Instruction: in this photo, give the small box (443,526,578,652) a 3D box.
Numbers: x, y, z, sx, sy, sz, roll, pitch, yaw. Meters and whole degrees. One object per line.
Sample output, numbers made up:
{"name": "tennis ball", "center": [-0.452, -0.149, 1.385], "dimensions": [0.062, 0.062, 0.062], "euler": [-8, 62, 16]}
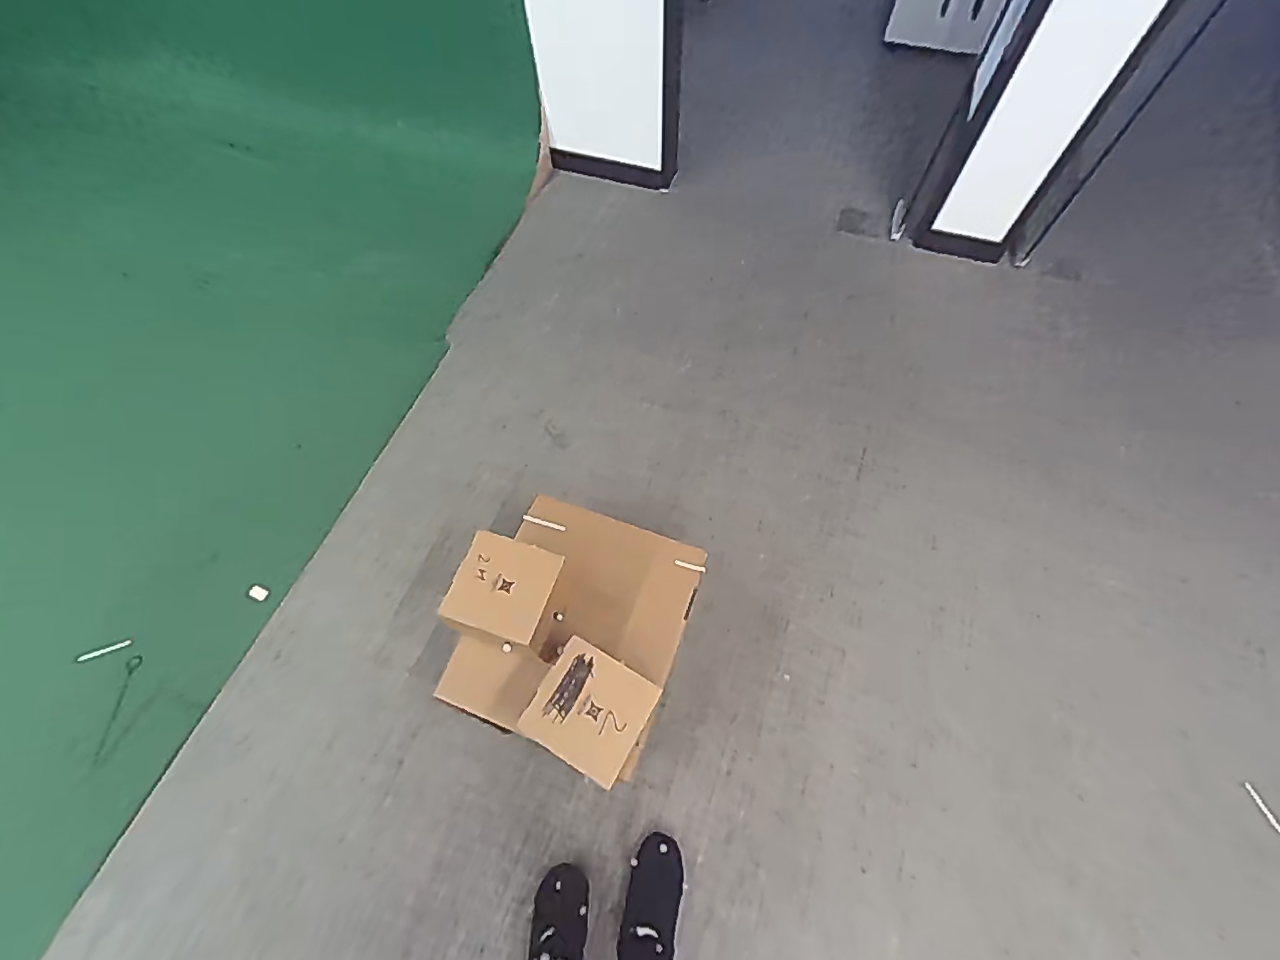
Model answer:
{"name": "small box", "center": [-0.228, 0.211, 1.014], "dimensions": [0.179, 0.176, 0.168], "euler": [17, 64, 10]}
